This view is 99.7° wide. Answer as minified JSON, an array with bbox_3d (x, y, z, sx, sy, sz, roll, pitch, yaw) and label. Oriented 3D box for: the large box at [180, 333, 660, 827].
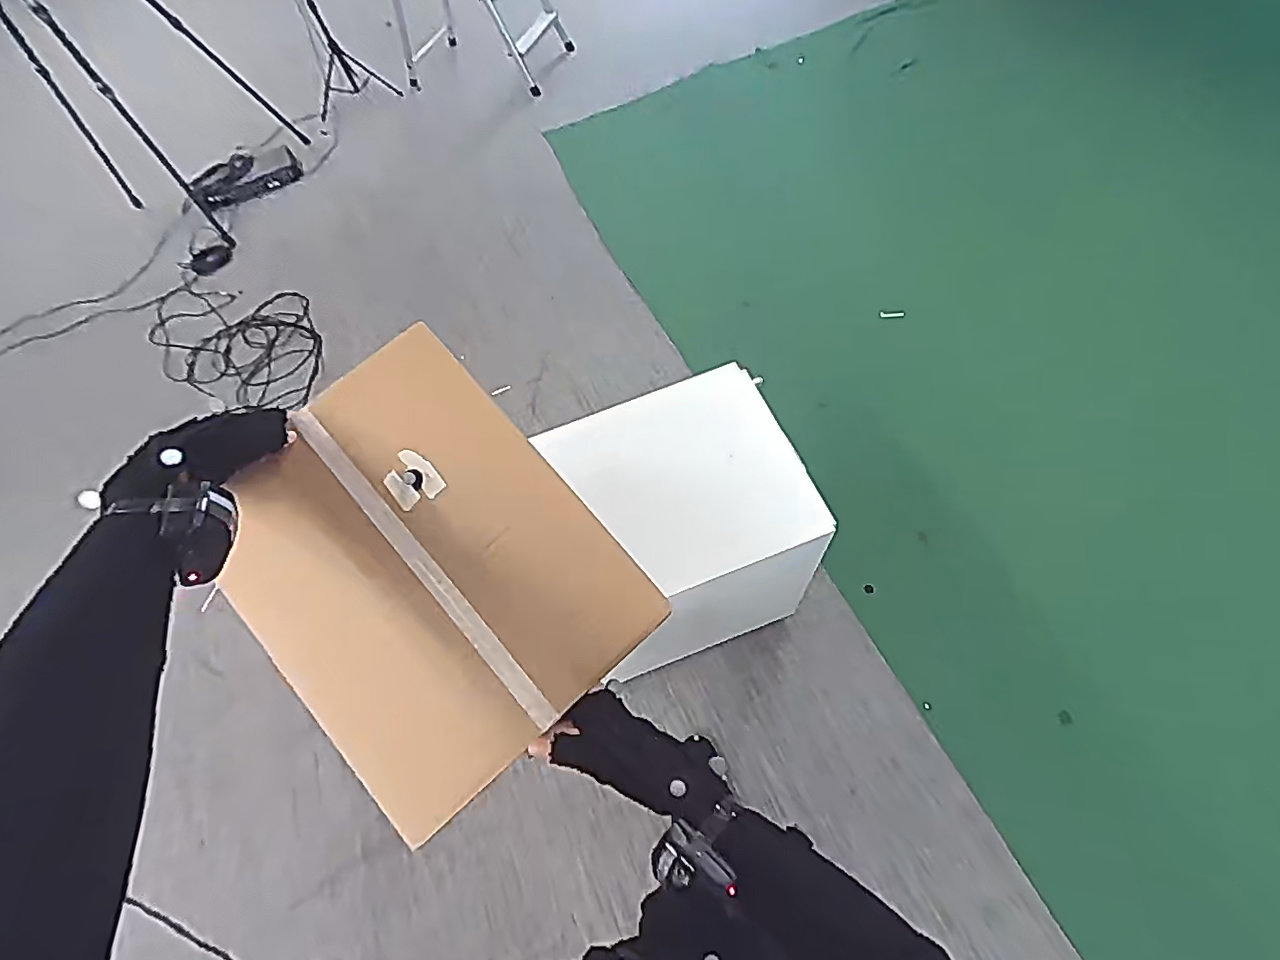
[{"bbox_3d":[-0.221,0.110,0.682,0.320,0.320,0.408,-41,80,-10],"label":"large box"}]
